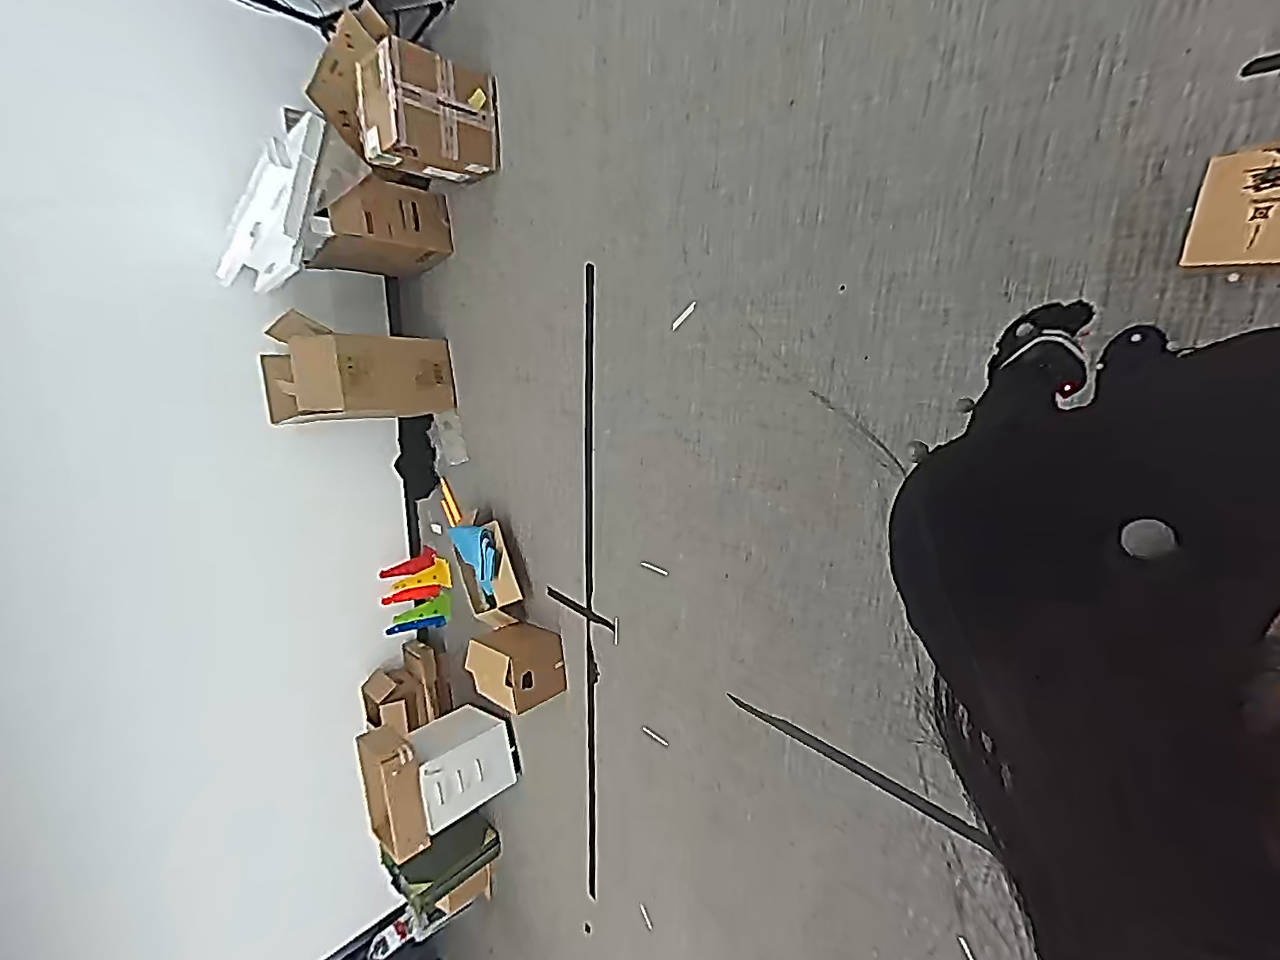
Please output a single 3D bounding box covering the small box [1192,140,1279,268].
[{"bbox_3d":[1.082,-0.465,0.922,0.168,0.176,0.179,18,113,43],"label":"small box"}]
